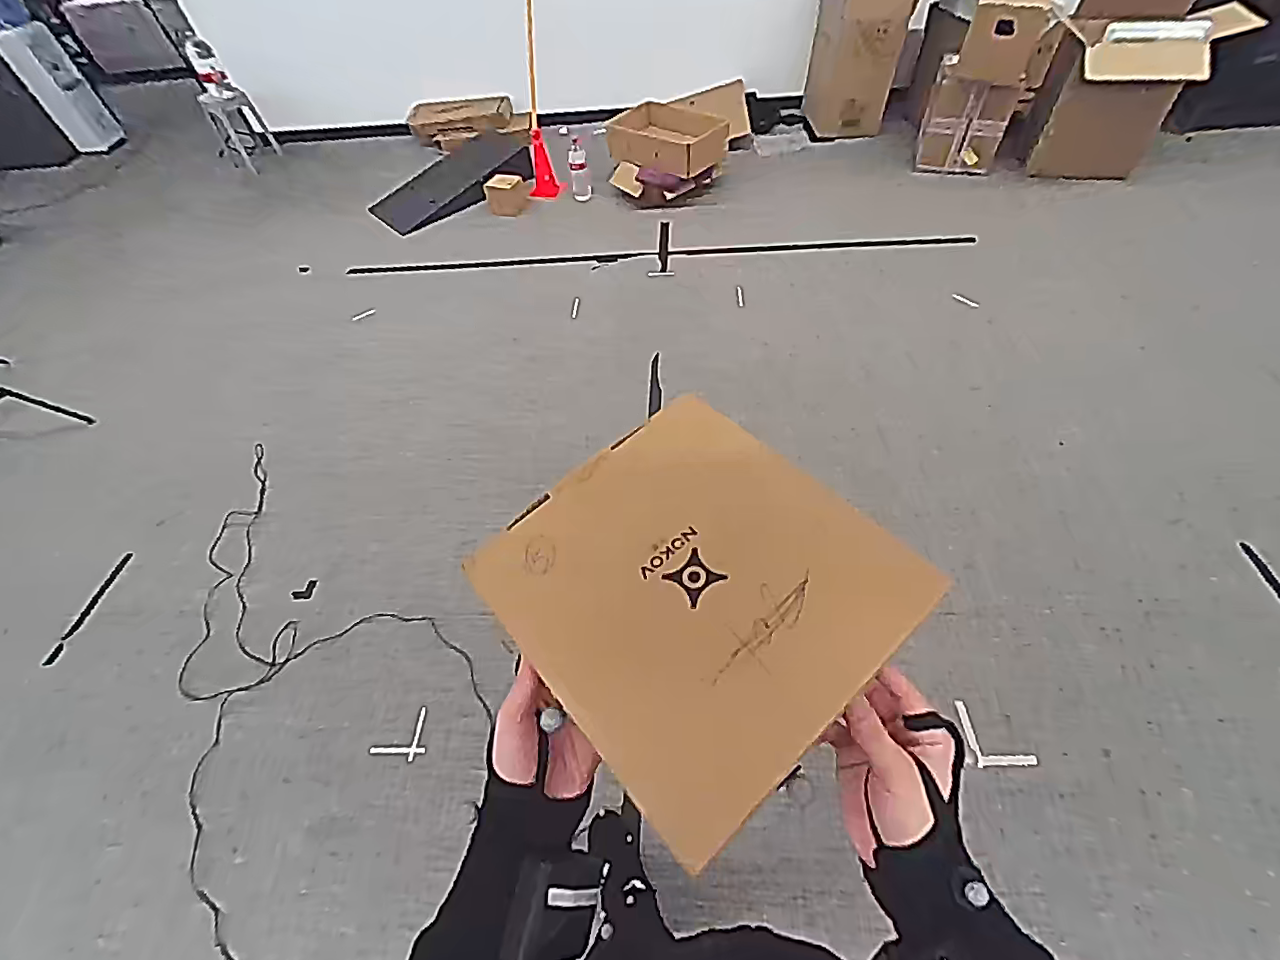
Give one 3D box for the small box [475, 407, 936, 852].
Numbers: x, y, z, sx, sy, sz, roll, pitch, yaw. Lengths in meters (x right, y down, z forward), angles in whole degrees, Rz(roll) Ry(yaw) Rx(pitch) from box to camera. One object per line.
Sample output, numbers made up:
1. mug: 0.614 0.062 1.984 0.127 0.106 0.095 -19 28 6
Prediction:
1. small box: 0.034 0.095 0.338 0.168 0.176 0.179 -39 60 -17
